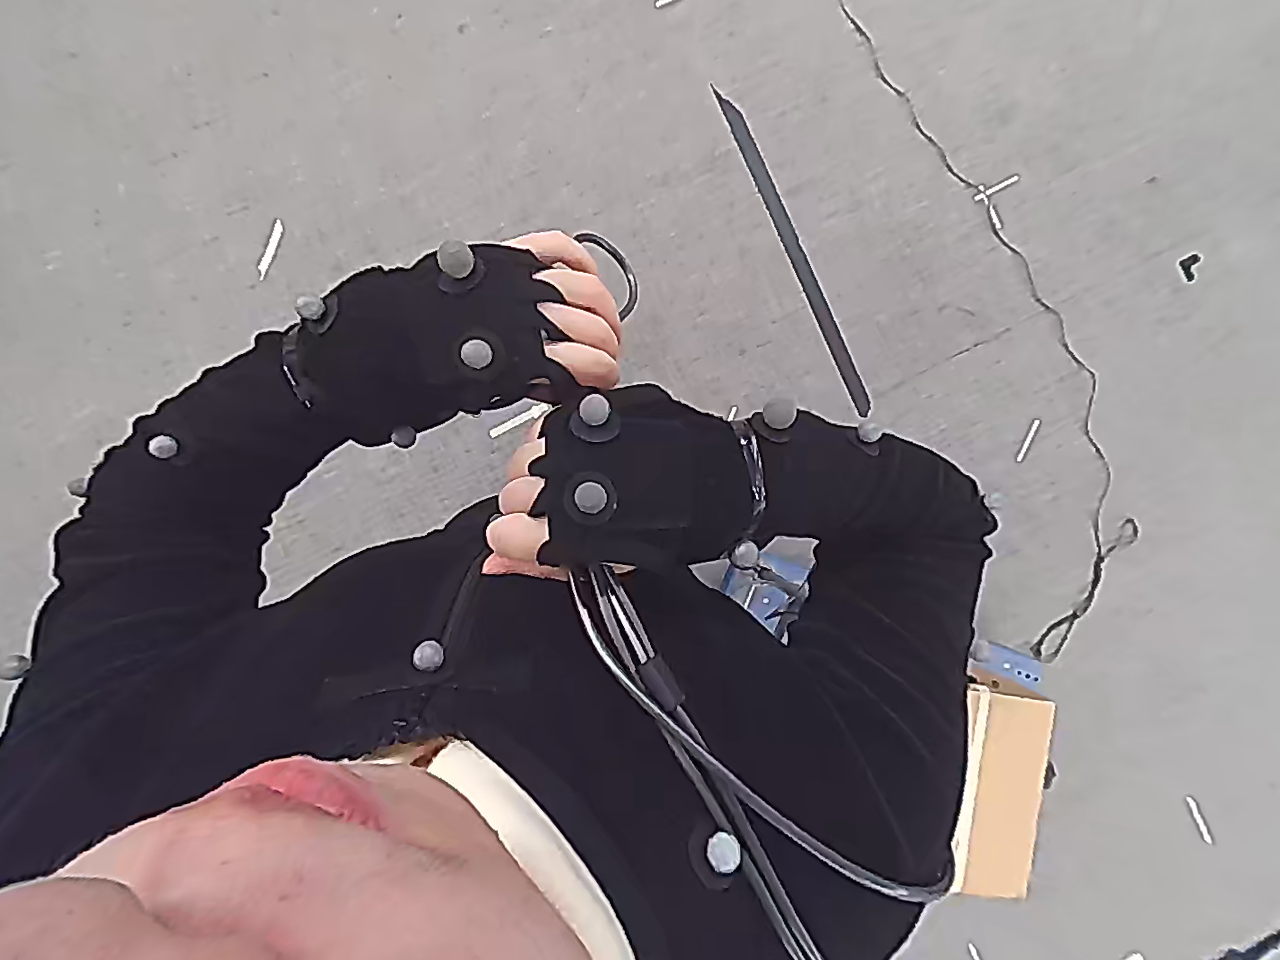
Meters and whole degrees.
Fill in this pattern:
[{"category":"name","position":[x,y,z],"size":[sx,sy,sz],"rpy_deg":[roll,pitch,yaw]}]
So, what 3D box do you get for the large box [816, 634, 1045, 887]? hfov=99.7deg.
[{"category":"large box","position":[0.631,0.603,1.230],"size":[0.320,0.320,0.408],"rpy_deg":[10,90,-3]}]
